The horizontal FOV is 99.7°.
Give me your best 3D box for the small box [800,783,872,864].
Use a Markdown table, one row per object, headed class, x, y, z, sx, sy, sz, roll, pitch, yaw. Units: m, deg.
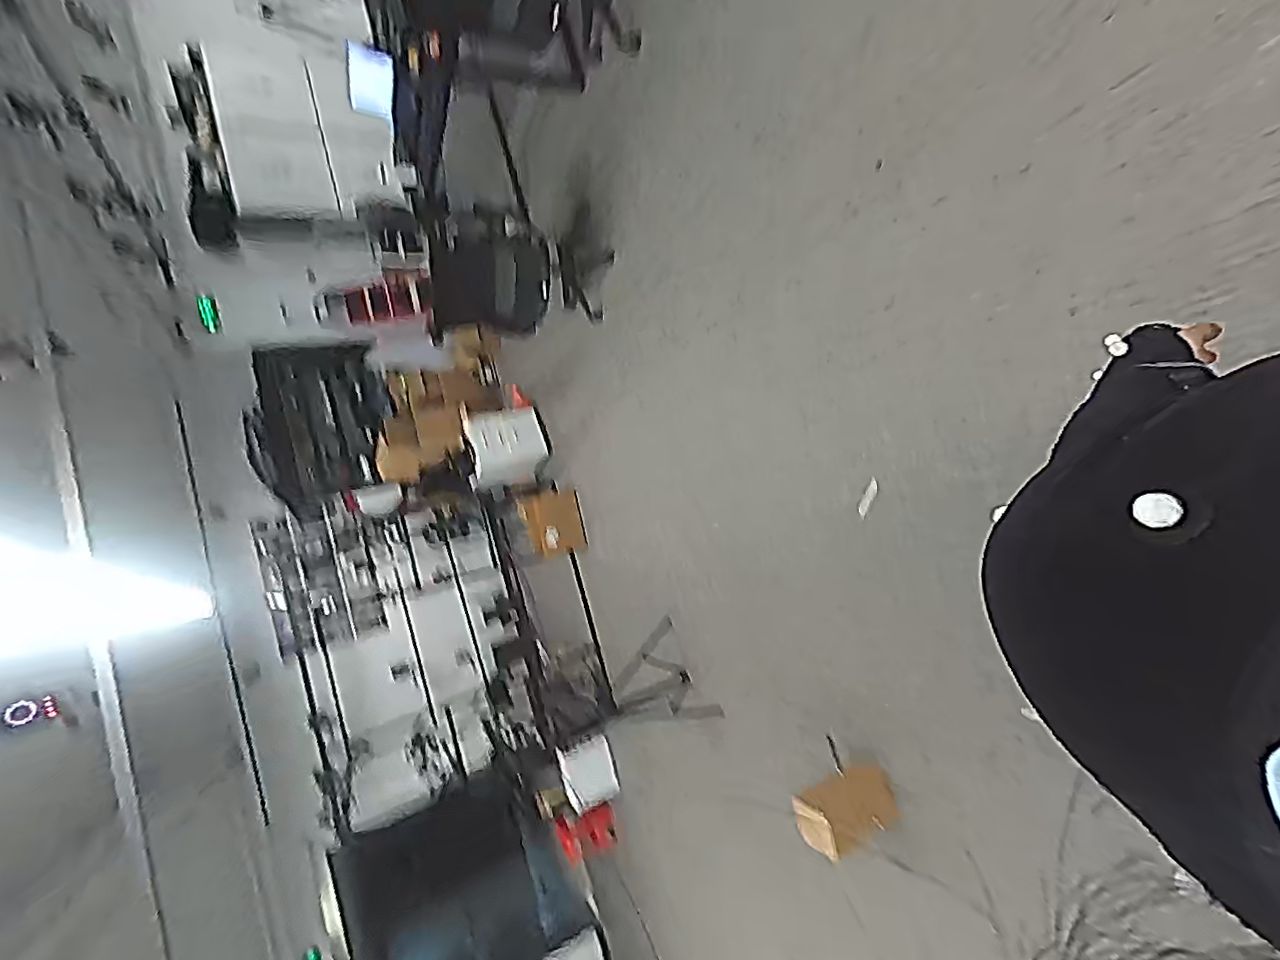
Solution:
| class | x | y | z | sx | sy | sz | roll | pitch | yaw |
| --- | --- | --- | --- | --- | --- | --- | --- | --- | --- |
| small box | 0.727 | 1.254 | 1.991 | 0.179 | 0.176 | 0.168 | -15 | 88 | 63 |
